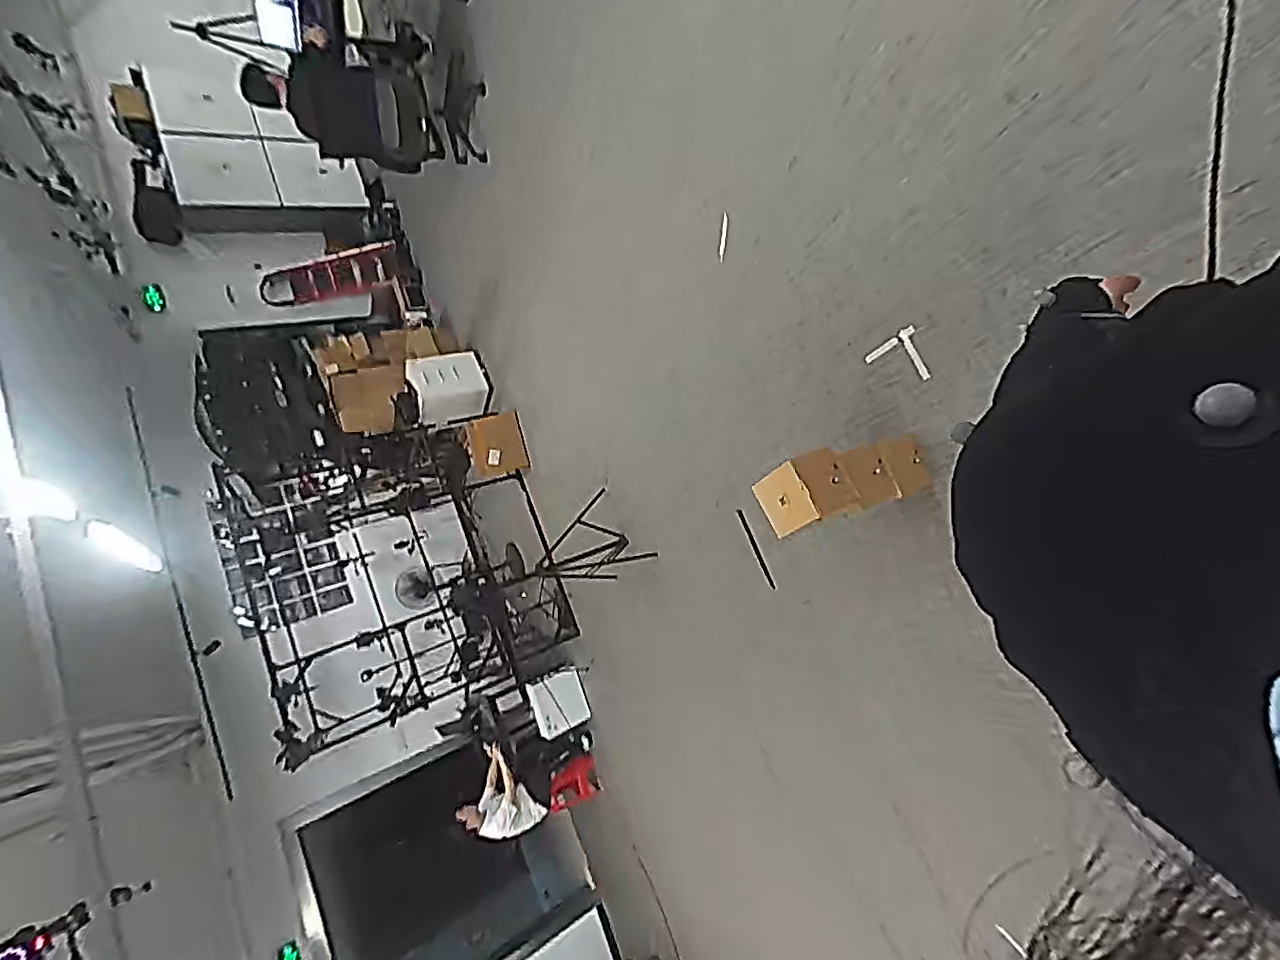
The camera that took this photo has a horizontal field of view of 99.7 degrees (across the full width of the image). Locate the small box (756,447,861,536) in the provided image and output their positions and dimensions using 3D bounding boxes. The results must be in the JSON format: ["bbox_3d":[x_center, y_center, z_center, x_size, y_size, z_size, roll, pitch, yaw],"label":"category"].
[{"bbox_3d":[0.456,0.032,1.465,0.168,0.176,0.179,64,148,15],"label":"small box"}]

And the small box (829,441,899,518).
[{"bbox_3d":[0.595,0.003,1.544,0.179,0.176,0.168,-28,81,59],"label":"small box"}]
